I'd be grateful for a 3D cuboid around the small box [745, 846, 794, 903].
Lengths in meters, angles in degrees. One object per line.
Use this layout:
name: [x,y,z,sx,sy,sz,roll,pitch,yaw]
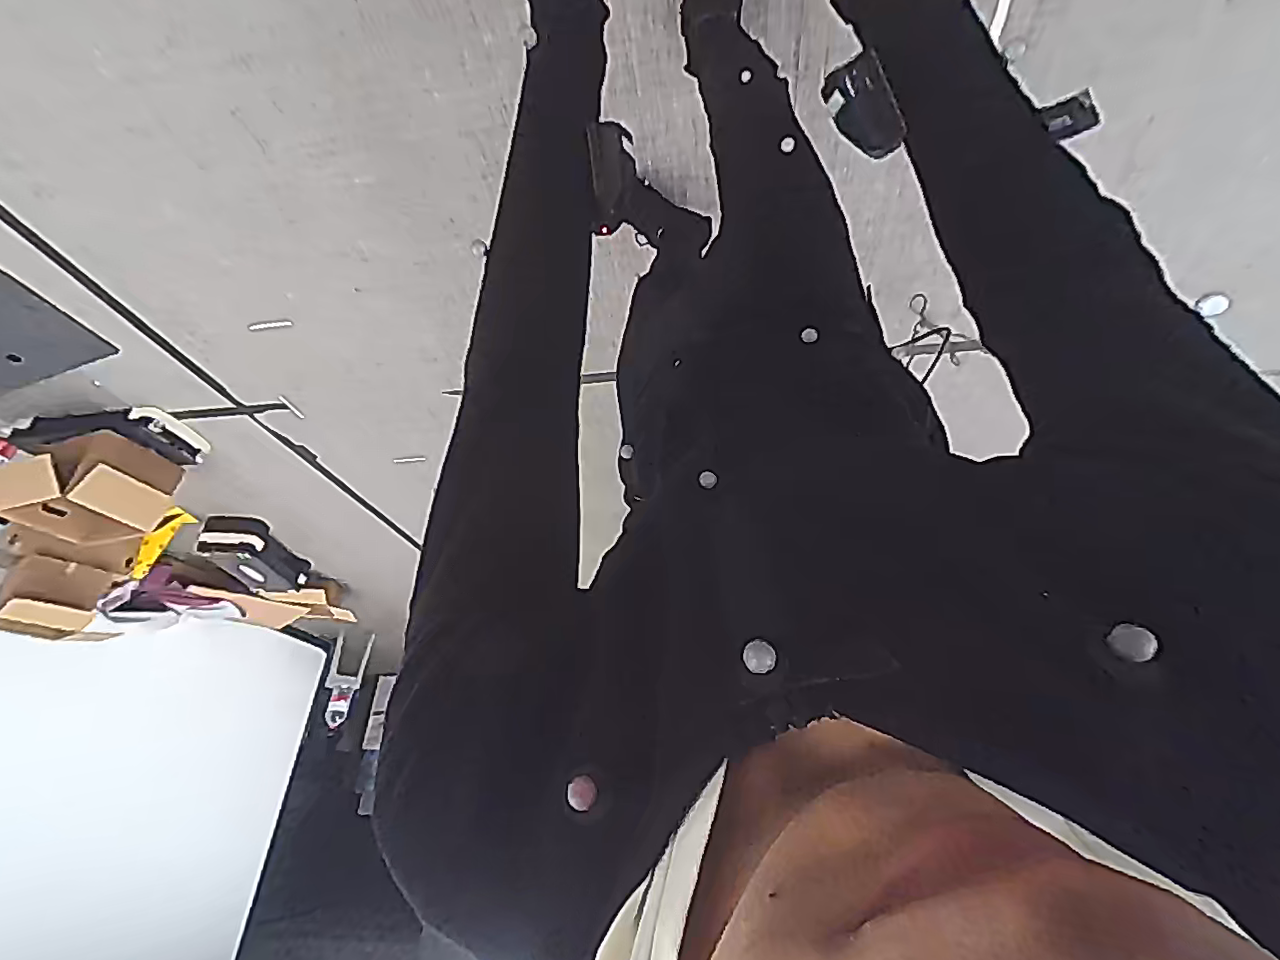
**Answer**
small box: [0.516,1.574,2.167,0.168,0.176,0.179,-4,149,6]
